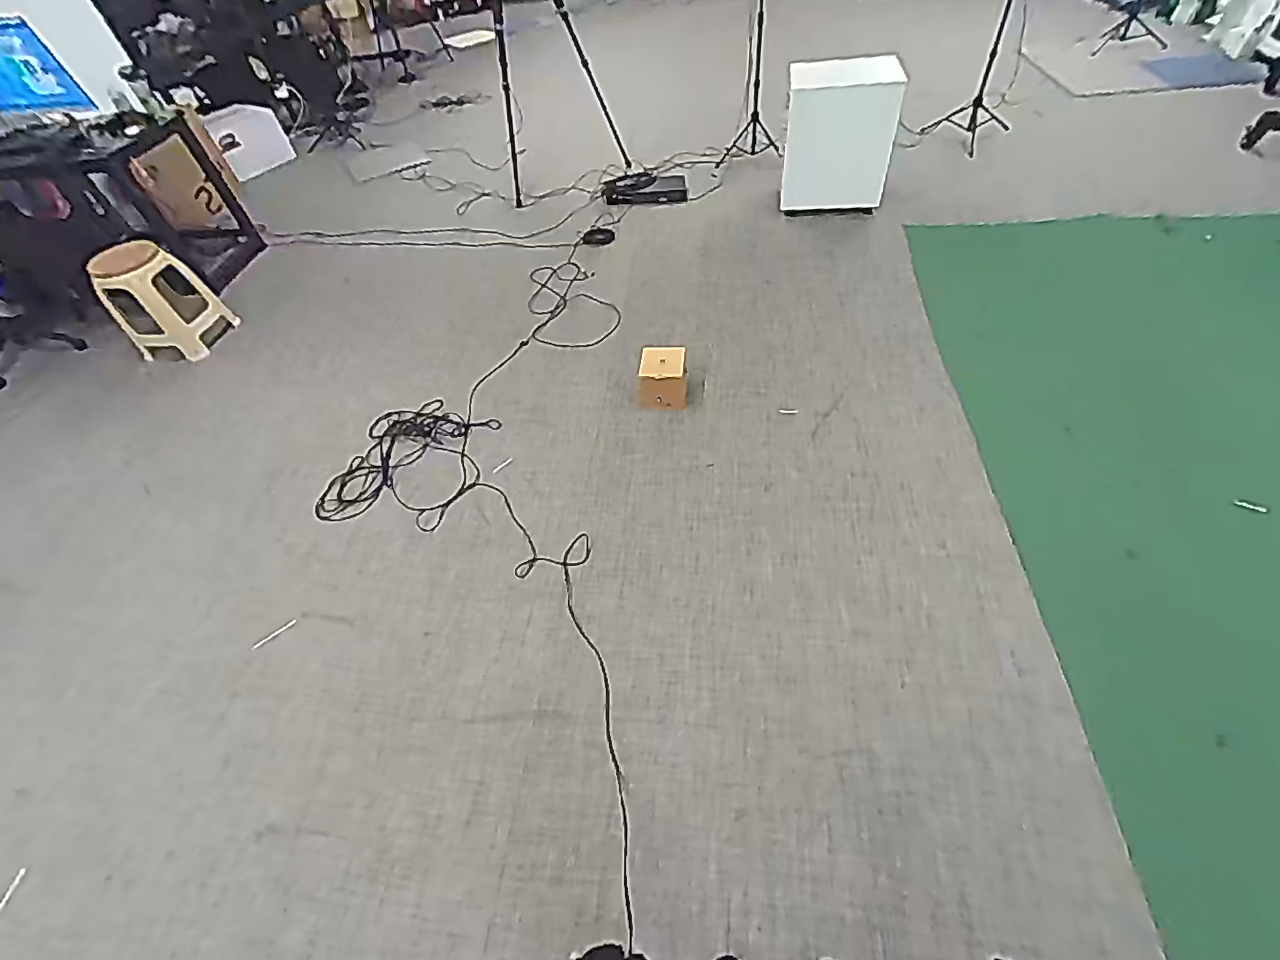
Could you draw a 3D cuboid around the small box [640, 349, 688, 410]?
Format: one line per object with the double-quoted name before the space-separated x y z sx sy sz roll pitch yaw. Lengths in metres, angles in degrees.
"small box" 0.098 -0.394 2.120 0.168 0.176 0.179 1 51 9
